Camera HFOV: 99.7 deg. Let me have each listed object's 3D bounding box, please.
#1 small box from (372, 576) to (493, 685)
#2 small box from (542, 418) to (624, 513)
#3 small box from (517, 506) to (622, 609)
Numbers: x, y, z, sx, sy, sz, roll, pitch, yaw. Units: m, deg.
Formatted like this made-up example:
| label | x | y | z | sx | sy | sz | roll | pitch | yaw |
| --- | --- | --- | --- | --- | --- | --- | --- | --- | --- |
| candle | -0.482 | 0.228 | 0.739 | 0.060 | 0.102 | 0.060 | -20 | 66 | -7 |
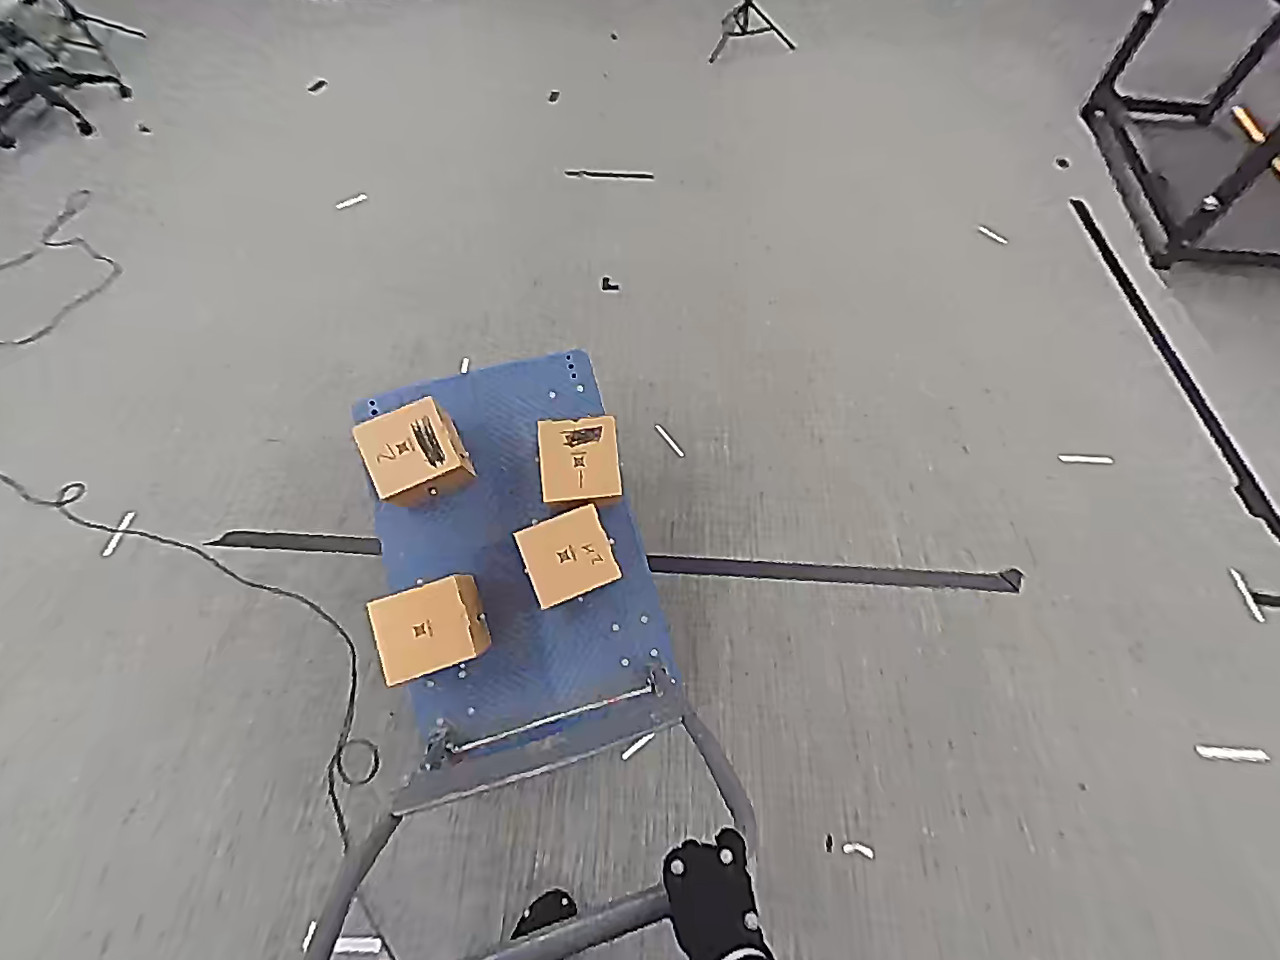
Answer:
| label | x | y | z | sx | sy | sz | roll | pitch | yaw |
| --- | --- | --- | --- | --- | --- | --- | --- | --- | --- |
| small box | -0.424 | 0.308 | 1.128 | 0.179 | 0.176 | 0.168 | -18 | 81 | -10 |
| small box | -0.129 | -0.028 | 1.215 | 0.168 | 0.176 | 0.179 | -5 | 81 | -6 |
| small box | -0.148 | 0.171 | 1.177 | 0.179 | 0.176 | 0.168 | -21 | 82 | -8 |
